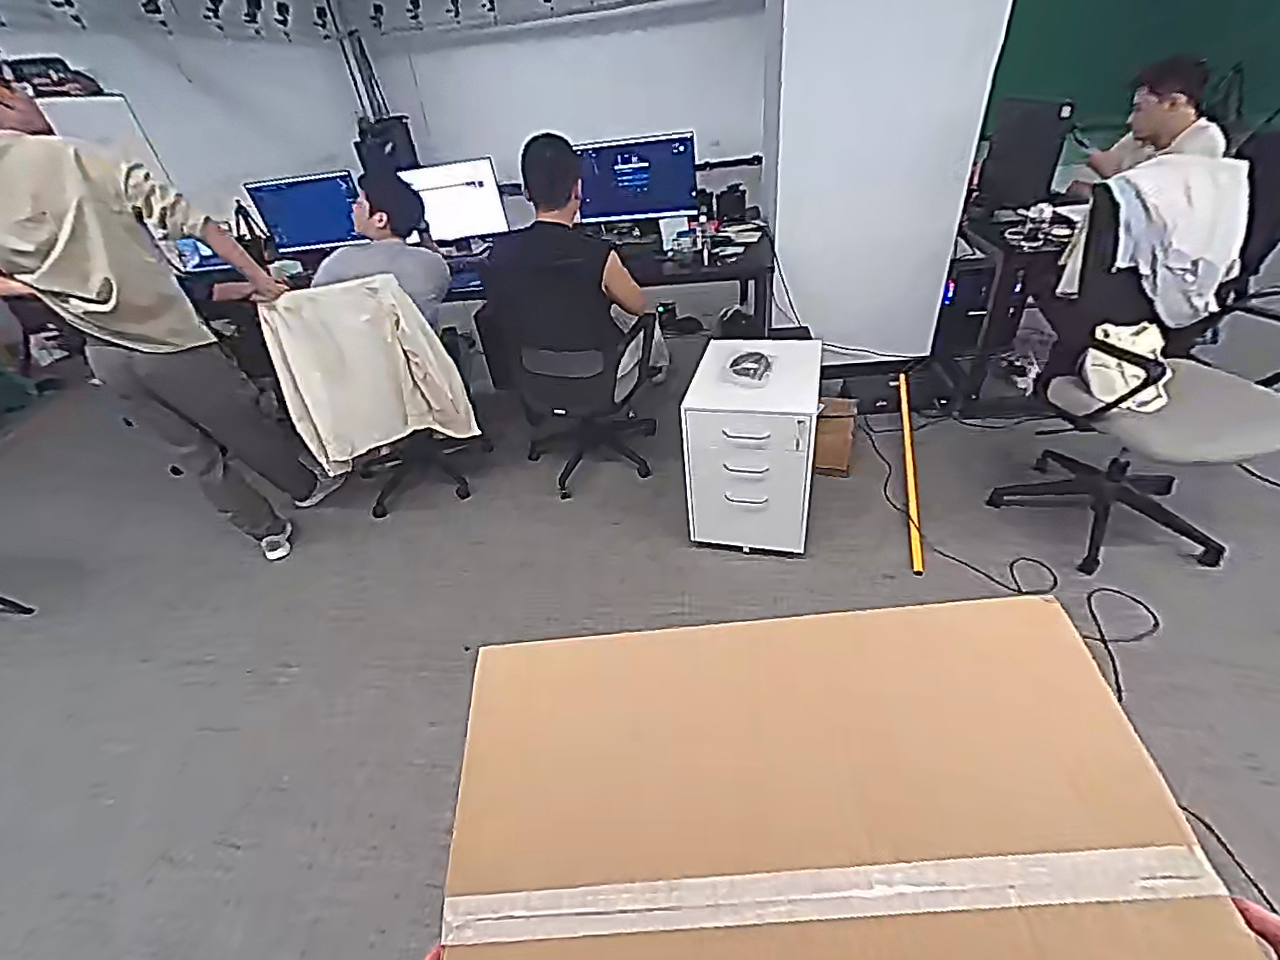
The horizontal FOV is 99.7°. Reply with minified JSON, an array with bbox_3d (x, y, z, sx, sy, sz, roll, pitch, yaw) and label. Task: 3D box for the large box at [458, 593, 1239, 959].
[{"bbox_3d":[0.110,0.315,0.419,0.408,0.320,0.320,-7,53,3],"label":"large box"}]
